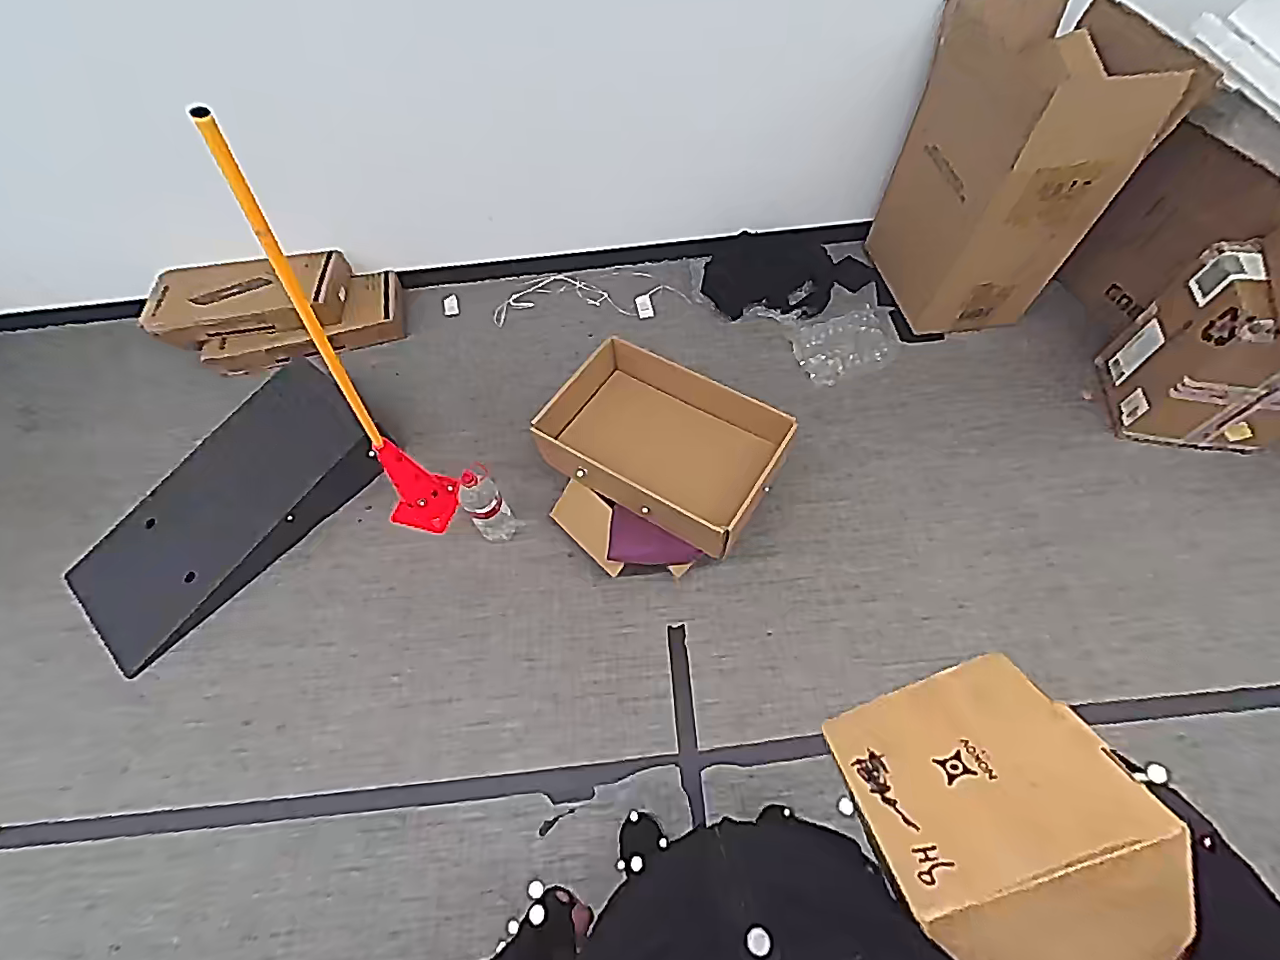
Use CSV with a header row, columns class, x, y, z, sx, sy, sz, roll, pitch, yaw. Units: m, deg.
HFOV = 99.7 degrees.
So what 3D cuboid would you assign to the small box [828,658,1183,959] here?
class,x,y,z,sx,sy,sz,roll,pitch,yaw
small box,0.289,0.291,0.451,0.179,0.176,0.168,-24,20,5
